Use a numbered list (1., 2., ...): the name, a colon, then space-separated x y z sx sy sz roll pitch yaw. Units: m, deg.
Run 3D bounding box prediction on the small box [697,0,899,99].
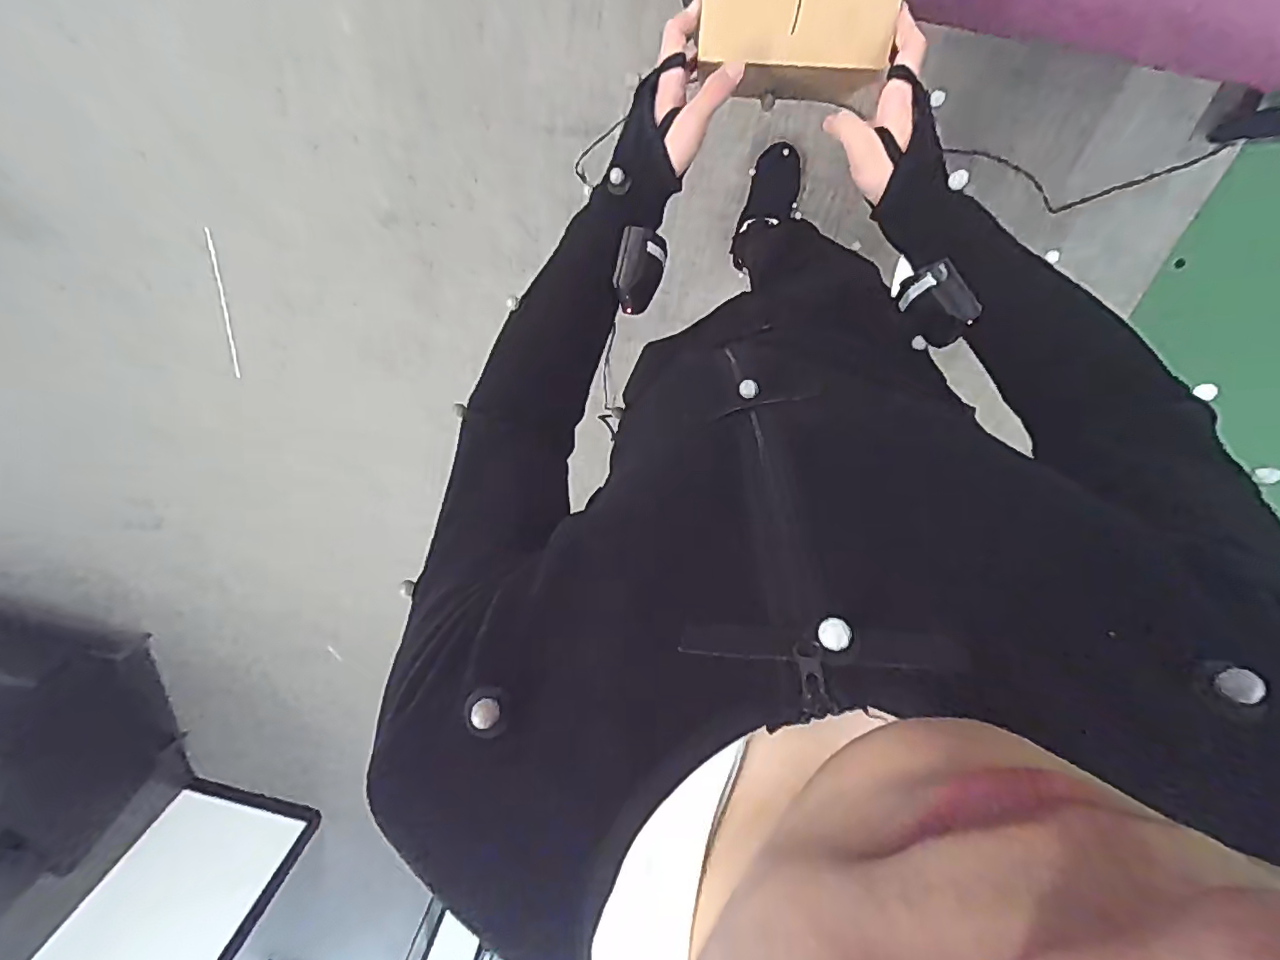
1. small box: 0.143 -0.477 0.499 0.168 0.176 0.179 7 118 4
